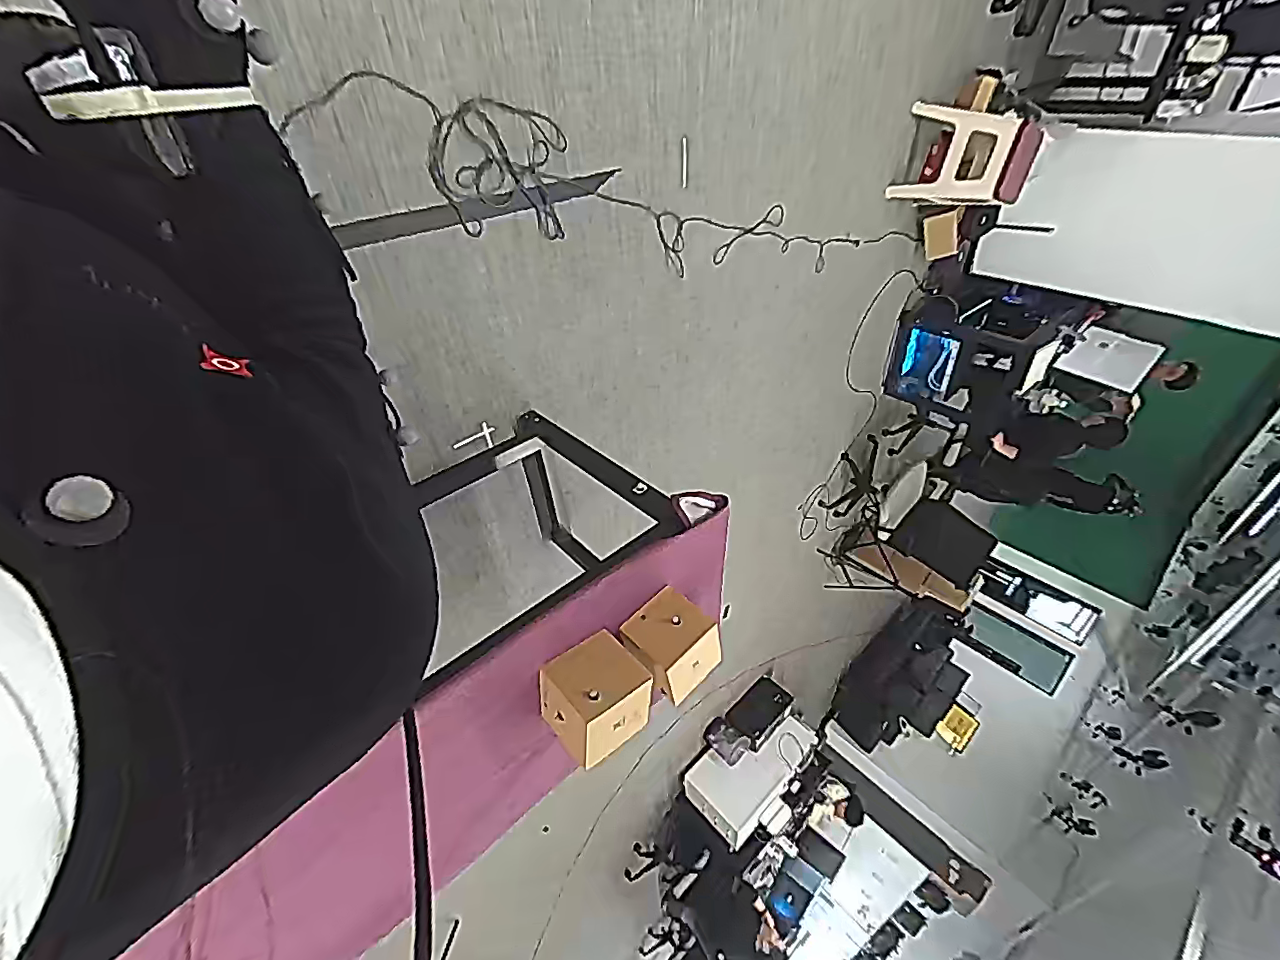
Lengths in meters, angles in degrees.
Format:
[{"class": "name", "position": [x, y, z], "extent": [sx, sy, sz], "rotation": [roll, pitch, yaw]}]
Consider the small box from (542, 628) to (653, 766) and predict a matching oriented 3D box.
[{"class": "small box", "position": [-0.097, 0.456, 1.159], "extent": [0.179, 0.176, 0.168], "rotation": [-23, 132, -37]}]

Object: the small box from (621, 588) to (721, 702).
[{"class": "small box", "position": [0.074, 0.385, 1.299], "extent": [0.168, 0.176, 0.179], "rotation": [-37, 138, -24]}]
